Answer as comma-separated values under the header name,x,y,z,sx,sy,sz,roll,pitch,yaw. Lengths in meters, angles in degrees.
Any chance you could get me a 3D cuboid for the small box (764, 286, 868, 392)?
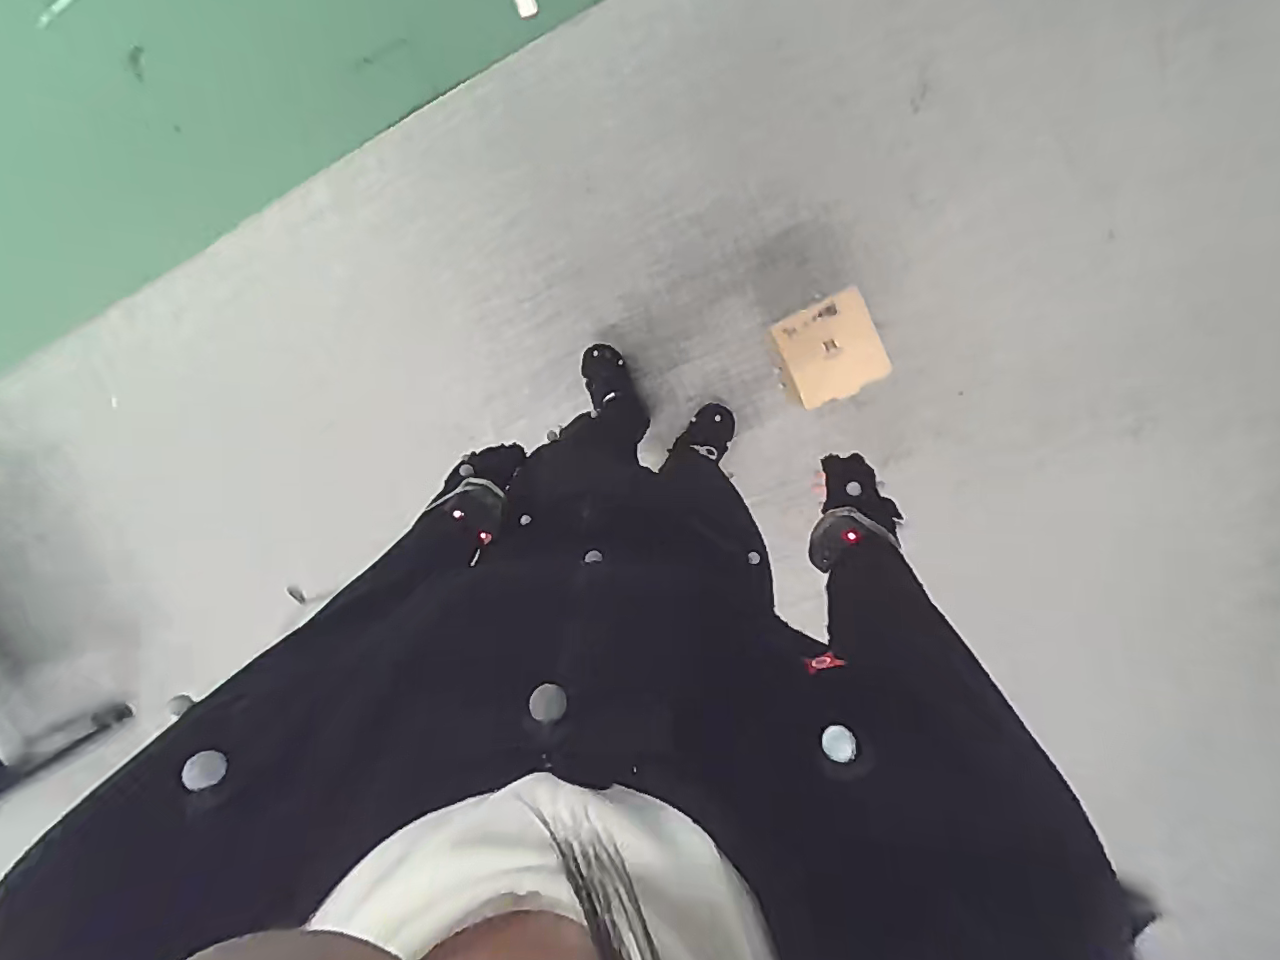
name,x,y,z,sx,sy,sz,roll,pitch,yaw
small box,0.388,-0.314,1.217,0.168,0.176,0.179,-22,98,13
